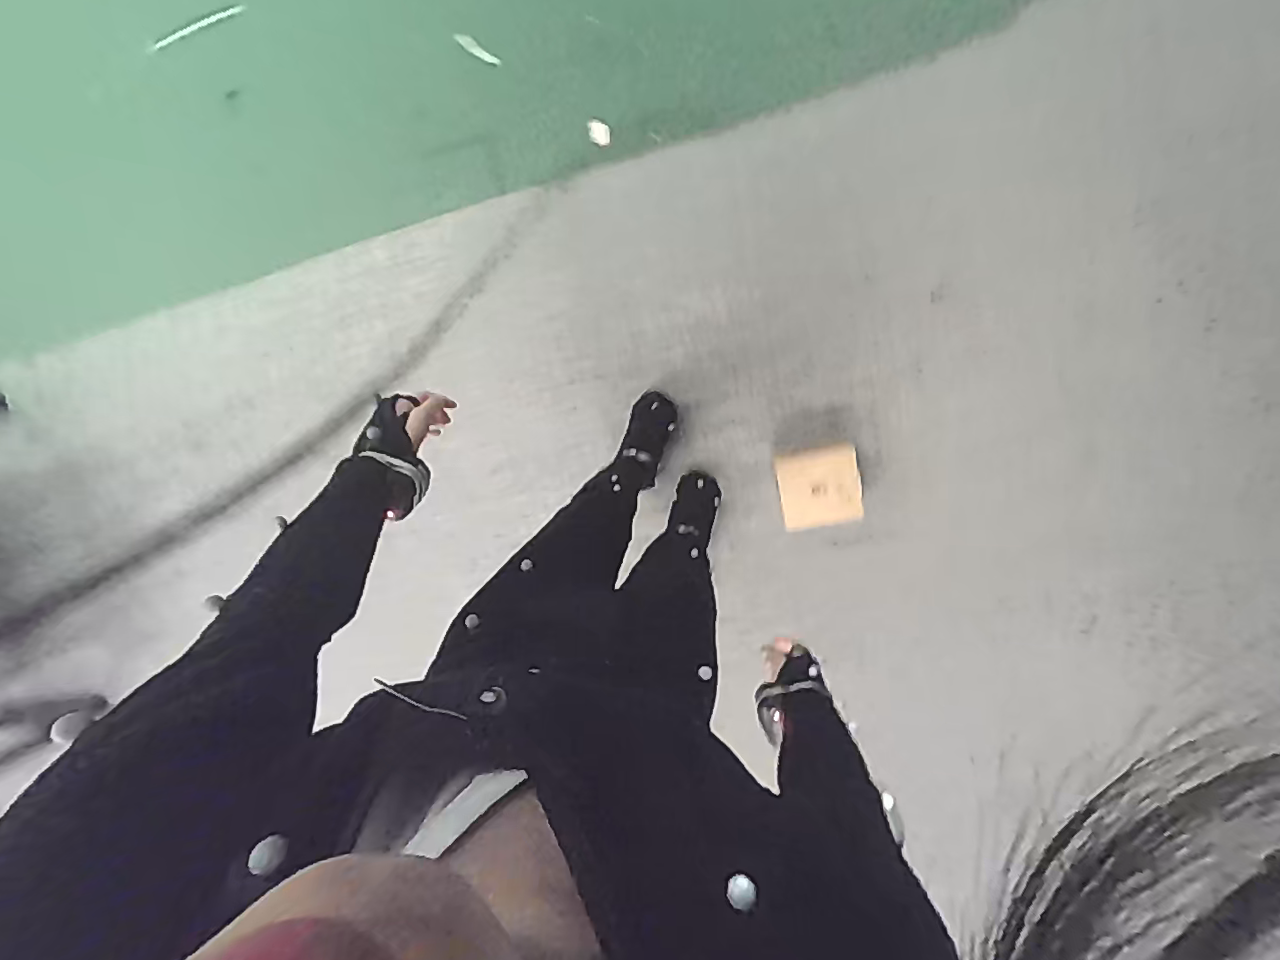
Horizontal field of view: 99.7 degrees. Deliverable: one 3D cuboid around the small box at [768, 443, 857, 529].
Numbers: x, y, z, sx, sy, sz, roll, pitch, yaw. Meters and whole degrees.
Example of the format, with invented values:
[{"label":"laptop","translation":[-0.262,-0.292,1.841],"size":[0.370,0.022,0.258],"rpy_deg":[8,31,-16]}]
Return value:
[{"label":"small box","translation":[0.404,0.010,1.290],"size":[0.179,0.176,0.168],"rpy_deg":[-9,99,13]}]
